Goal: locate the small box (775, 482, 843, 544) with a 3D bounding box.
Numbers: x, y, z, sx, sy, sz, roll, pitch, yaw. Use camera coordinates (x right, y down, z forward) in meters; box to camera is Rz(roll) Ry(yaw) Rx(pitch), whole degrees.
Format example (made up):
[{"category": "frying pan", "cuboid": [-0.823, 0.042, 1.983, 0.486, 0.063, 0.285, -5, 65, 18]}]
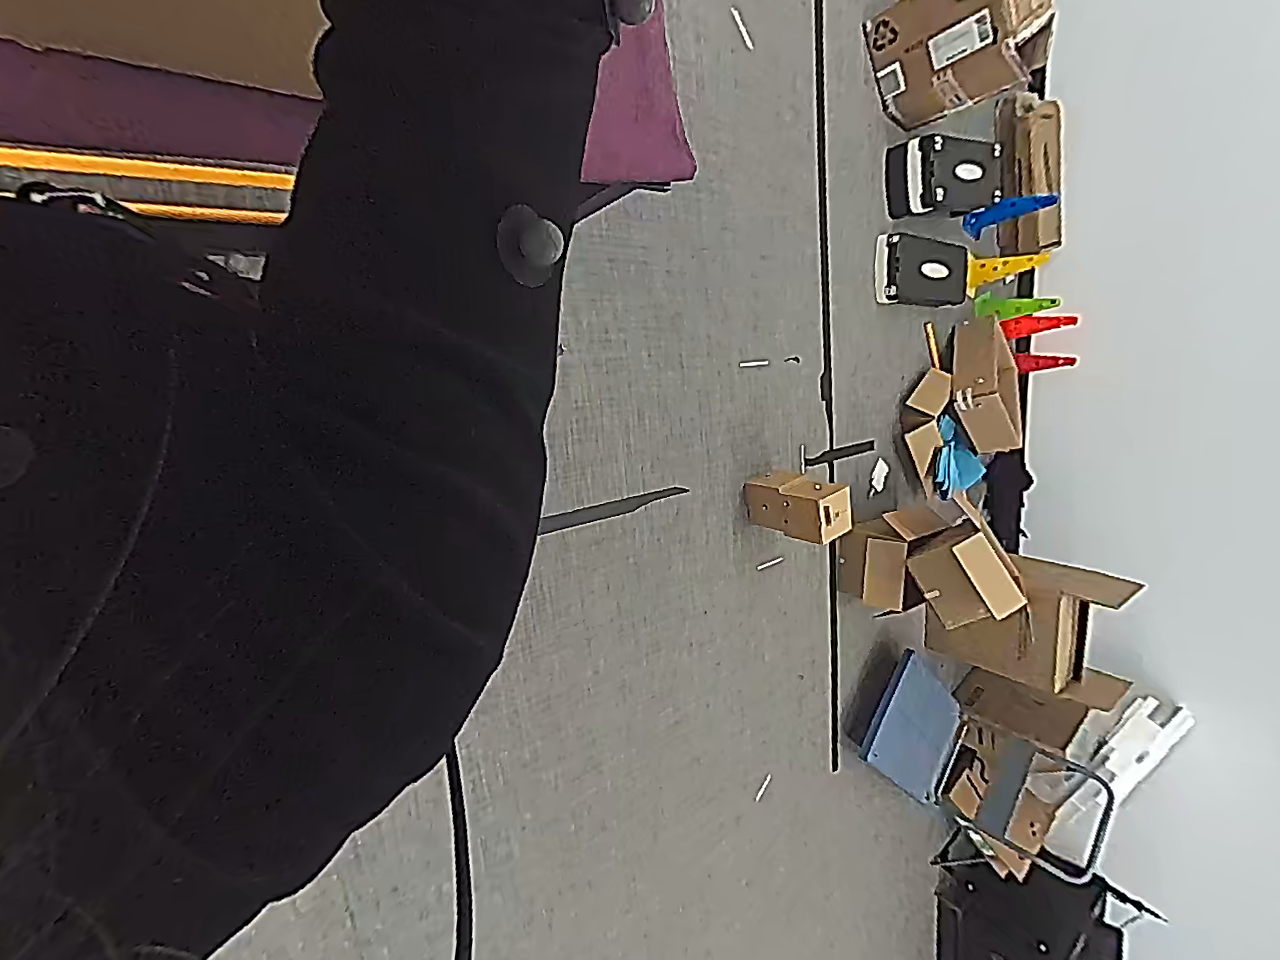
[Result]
[{"category": "small box", "cuboid": [0.595, 0.112, 1.926, 0.179, 0.176, 0.168, -20, 109, -34]}]
